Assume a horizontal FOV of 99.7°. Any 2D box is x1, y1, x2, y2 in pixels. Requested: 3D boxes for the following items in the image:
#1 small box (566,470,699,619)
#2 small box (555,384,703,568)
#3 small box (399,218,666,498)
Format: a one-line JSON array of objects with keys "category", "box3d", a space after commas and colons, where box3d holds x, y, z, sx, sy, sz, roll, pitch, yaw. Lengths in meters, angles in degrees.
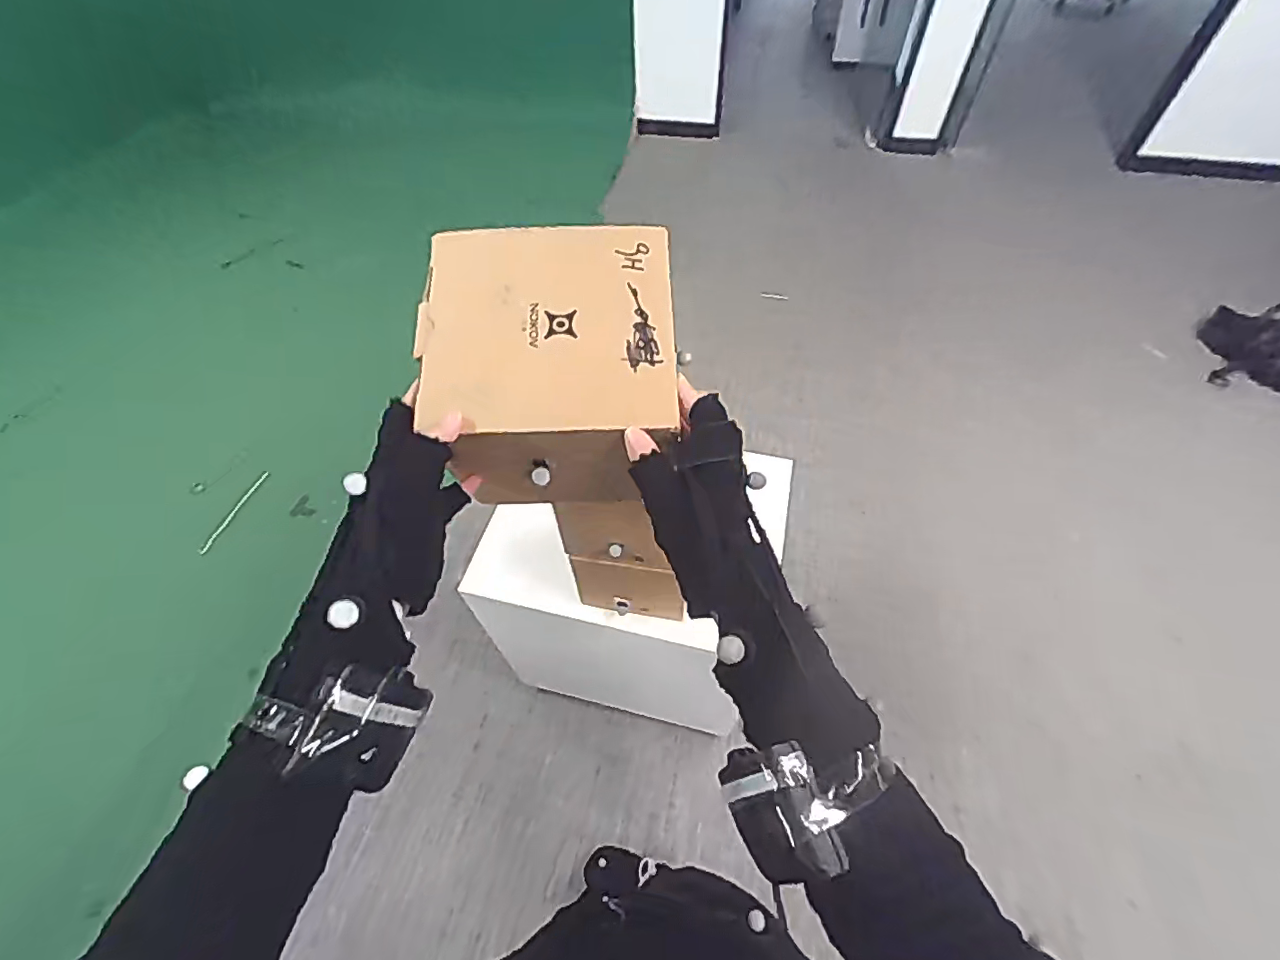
[{"category": "small box", "box3d": [-0.003, 0.092, 0.832, 0.168, 0.176, 0.179, 6, 56, 8]}, {"category": "small box", "box3d": [-0.012, -0.009, 0.702, 0.168, 0.176, 0.179, 5, 53, 6]}, {"category": "small box", "box3d": [-0.068, -0.086, 0.447, 0.179, 0.176, 0.168, -1, 72, 1]}]
